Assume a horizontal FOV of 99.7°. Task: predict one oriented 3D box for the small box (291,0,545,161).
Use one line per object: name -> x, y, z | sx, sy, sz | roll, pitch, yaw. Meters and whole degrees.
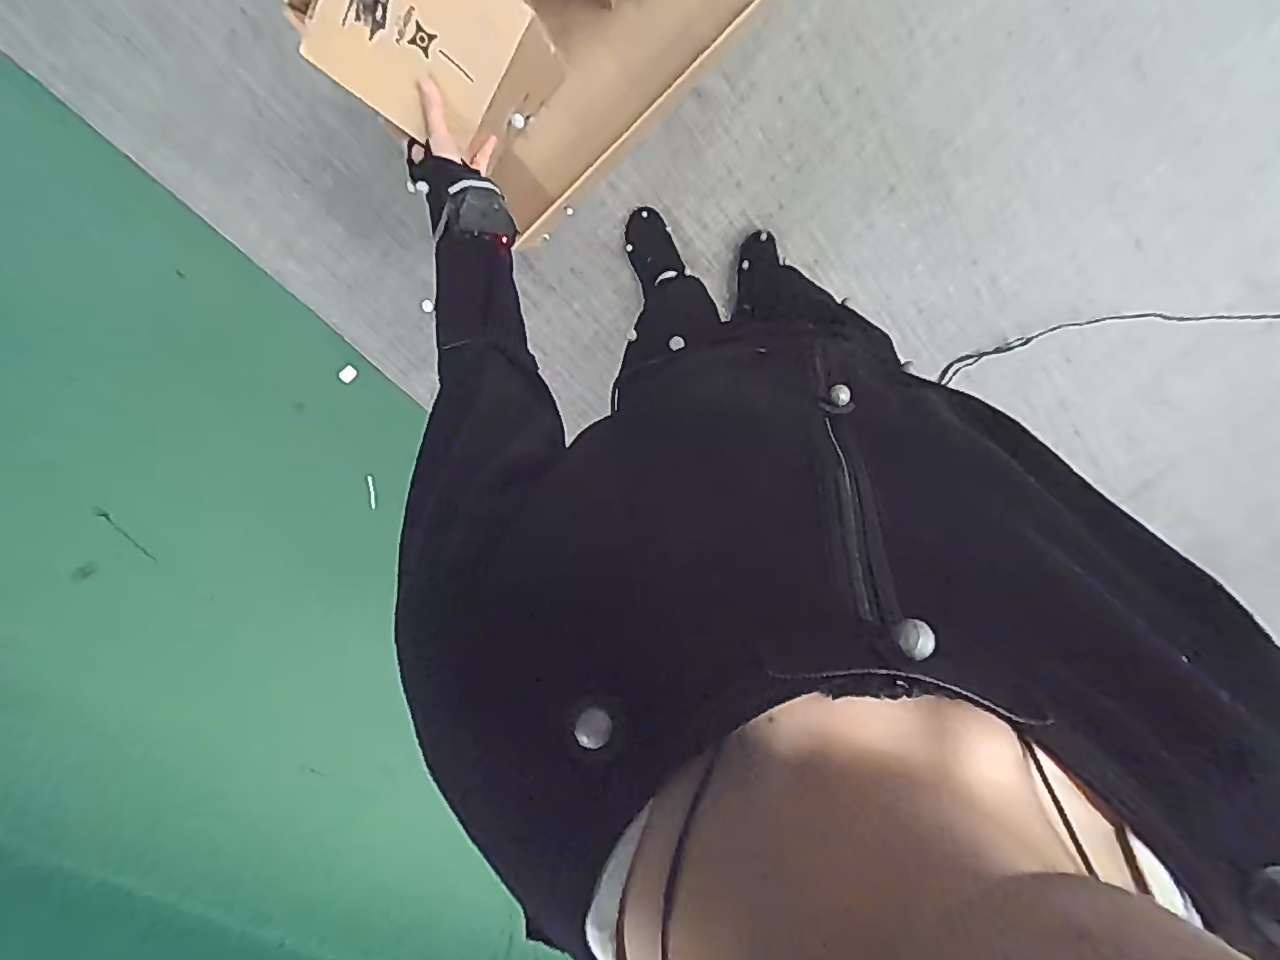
small box -> -0.223, -0.475, 0.587 | 0.179, 0.176, 0.168 | 31, 112, -18
